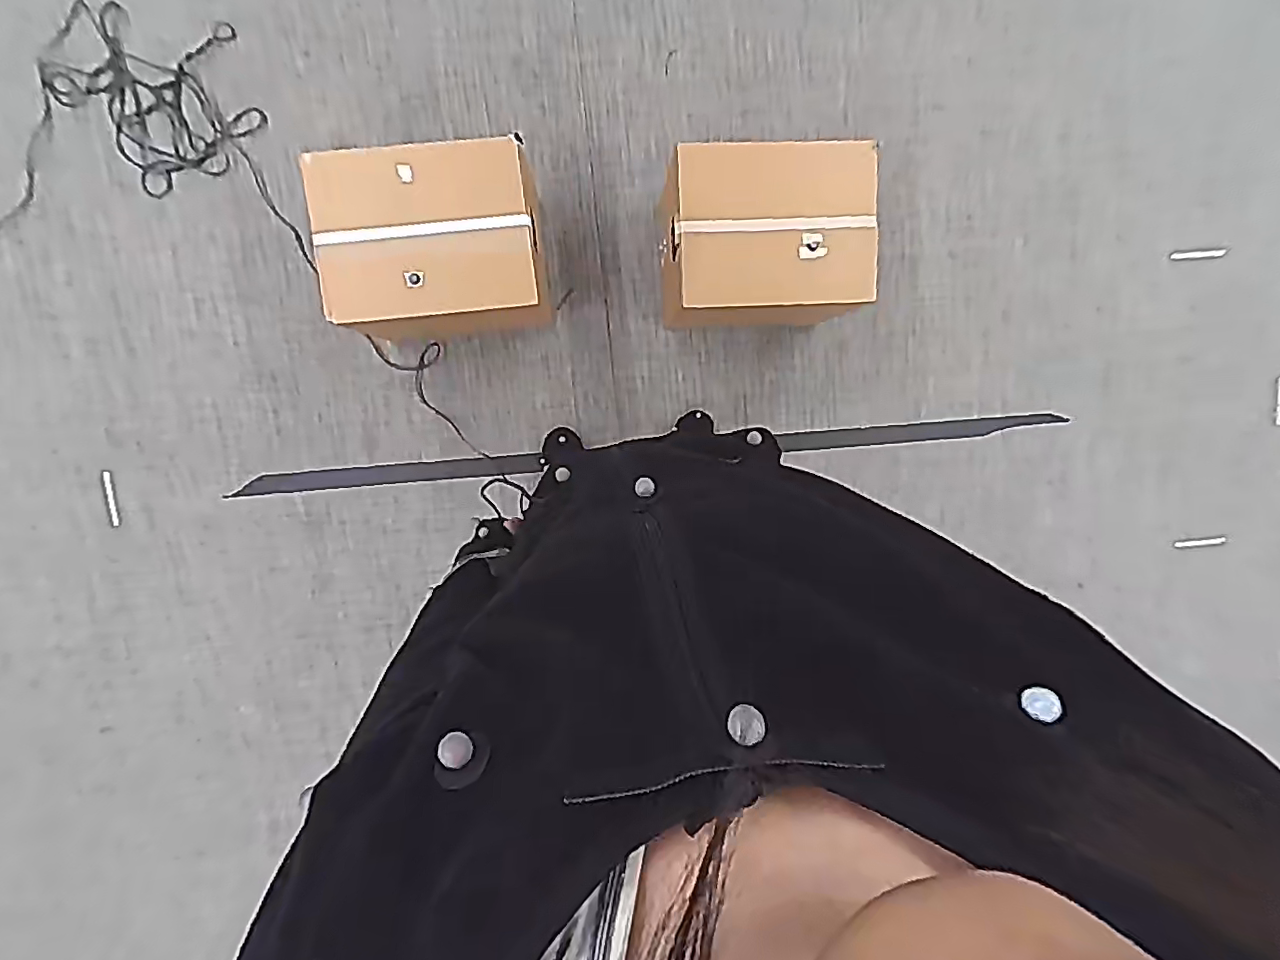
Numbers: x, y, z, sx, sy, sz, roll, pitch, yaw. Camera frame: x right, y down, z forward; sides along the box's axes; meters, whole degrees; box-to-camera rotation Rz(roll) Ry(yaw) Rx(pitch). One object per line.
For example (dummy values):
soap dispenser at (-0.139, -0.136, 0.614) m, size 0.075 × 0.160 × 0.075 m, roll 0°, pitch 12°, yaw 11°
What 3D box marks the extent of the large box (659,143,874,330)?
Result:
large box at (0.266, -0.532, 1.236) m, size 0.408 × 0.320 × 0.320 m, roll -3°, pitch 98°, yaw -5°
